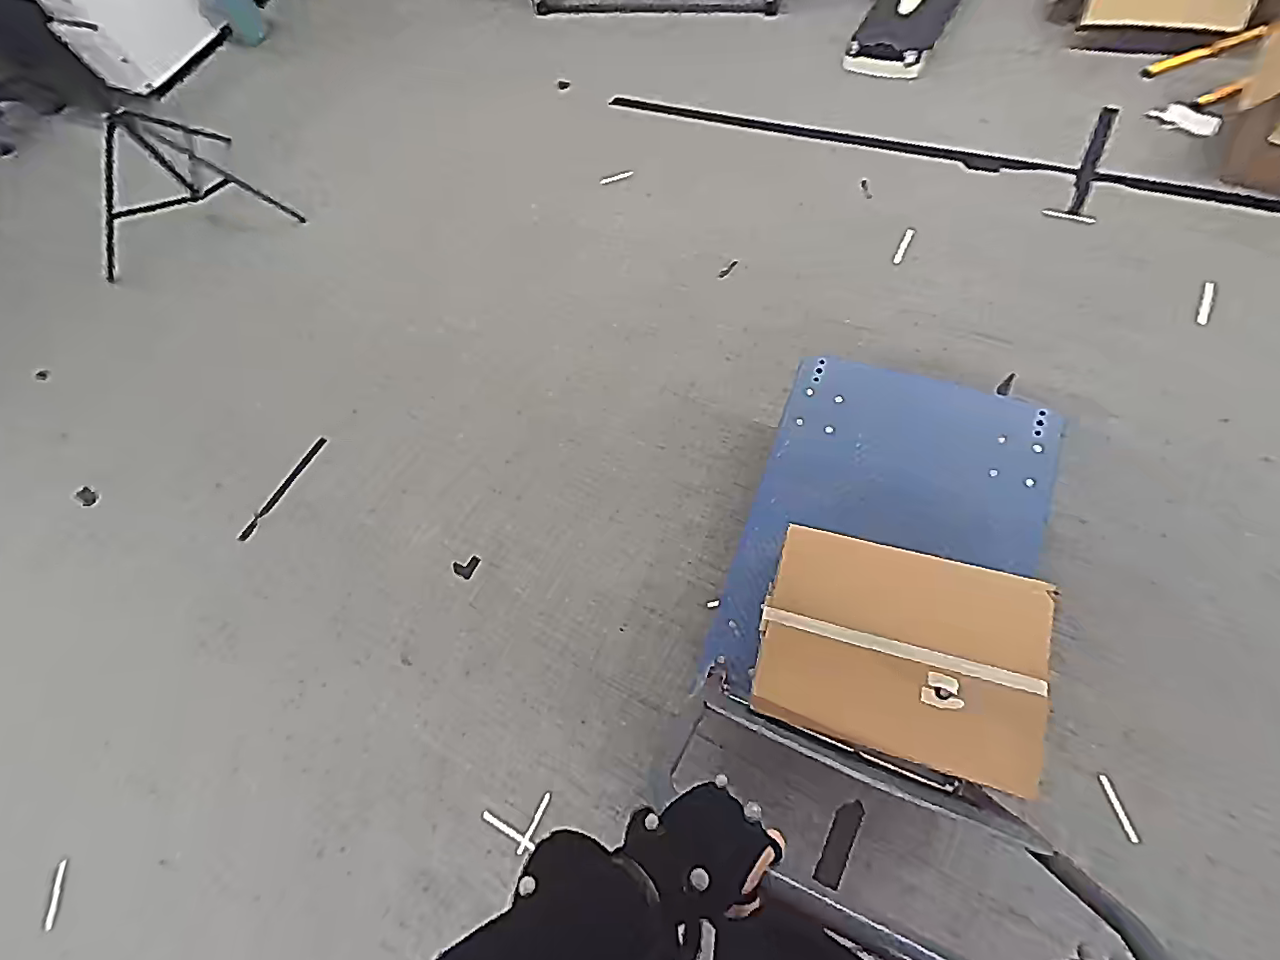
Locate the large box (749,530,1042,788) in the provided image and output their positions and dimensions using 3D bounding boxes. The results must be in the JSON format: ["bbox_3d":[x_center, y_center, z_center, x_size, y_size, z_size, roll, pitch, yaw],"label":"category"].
[{"bbox_3d":[0.429,0.308,0.999,0.408,0.320,0.320,12,77,14],"label":"large box"}]
